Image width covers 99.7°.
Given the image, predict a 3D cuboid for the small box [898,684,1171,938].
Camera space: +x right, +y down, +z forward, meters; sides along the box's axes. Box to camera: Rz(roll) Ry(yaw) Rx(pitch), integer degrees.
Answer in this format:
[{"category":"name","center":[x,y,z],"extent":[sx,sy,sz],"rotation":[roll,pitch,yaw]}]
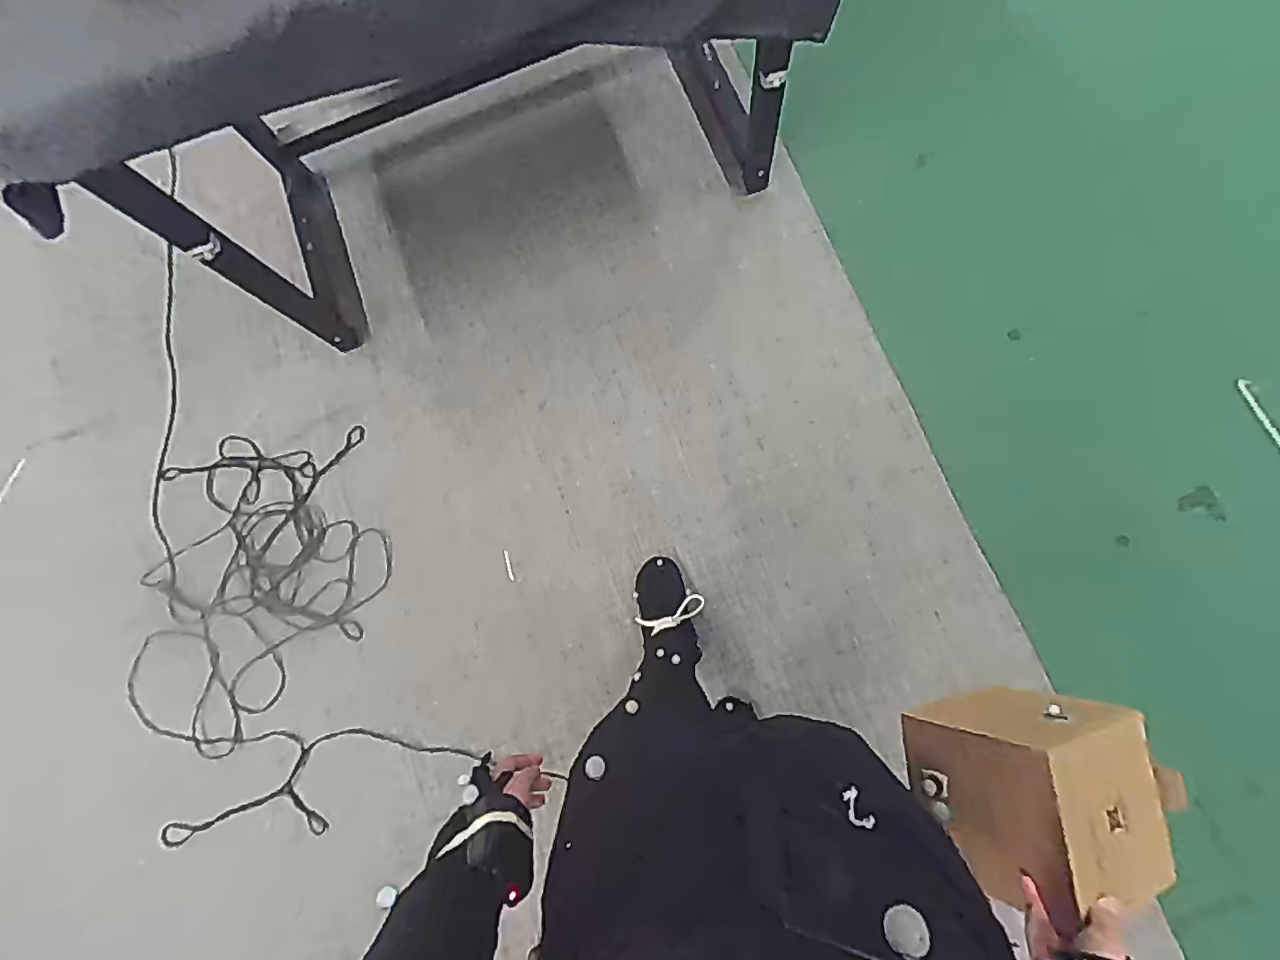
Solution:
[{"category":"small box","center":[0.420,0.333,0.593],"extent":[0.179,0.176,0.168],"rotation":[-2,81,-26]}]
